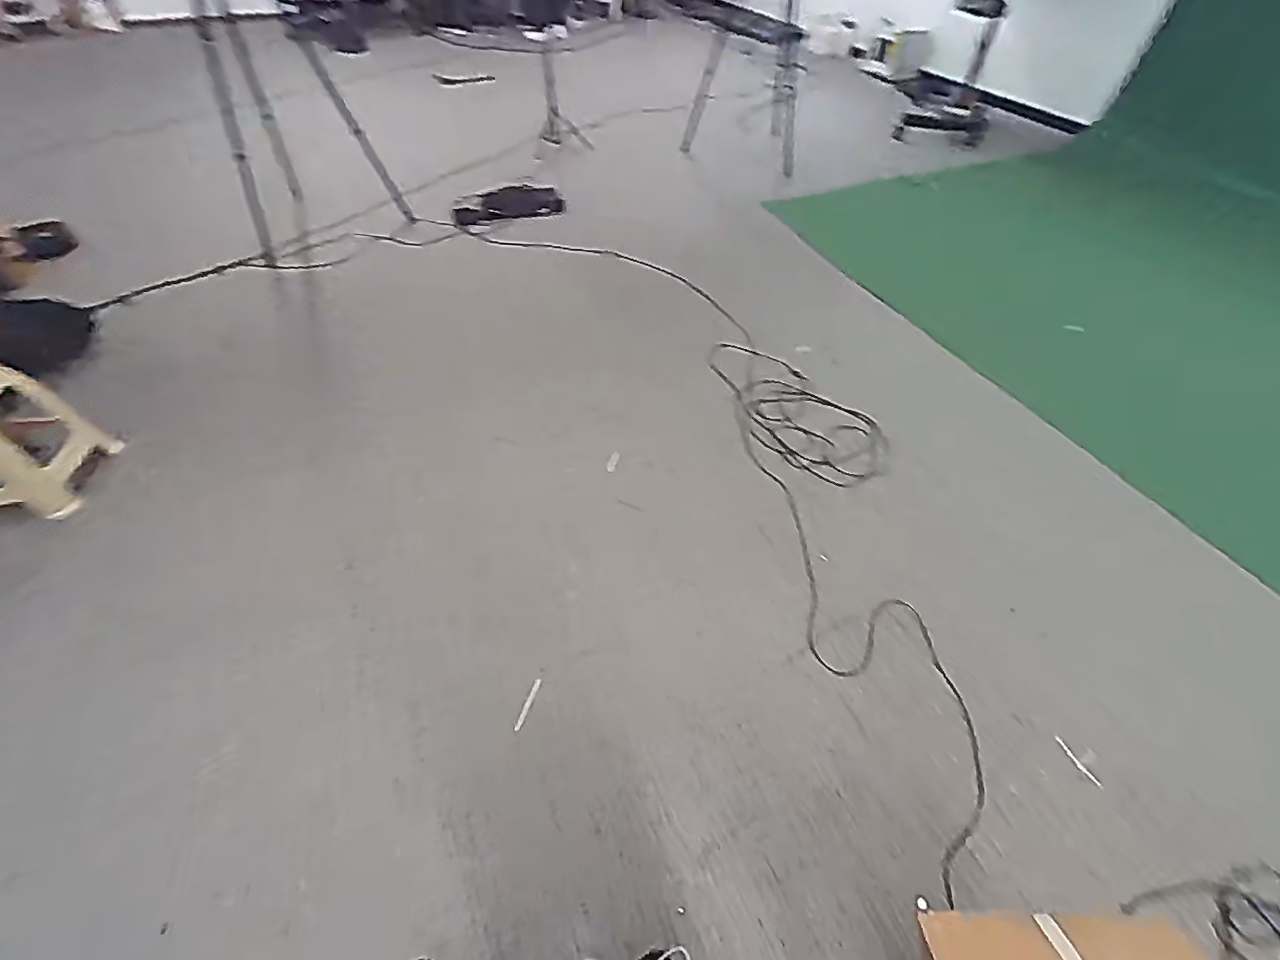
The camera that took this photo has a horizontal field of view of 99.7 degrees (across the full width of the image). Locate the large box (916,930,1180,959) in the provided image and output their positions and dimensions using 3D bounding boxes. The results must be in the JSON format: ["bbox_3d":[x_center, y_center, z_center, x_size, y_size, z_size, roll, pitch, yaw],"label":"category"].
[{"bbox_3d":[0.515,0.764,0.531,0.320,0.408,0.320,-4,88,10],"label":"large box"}]
